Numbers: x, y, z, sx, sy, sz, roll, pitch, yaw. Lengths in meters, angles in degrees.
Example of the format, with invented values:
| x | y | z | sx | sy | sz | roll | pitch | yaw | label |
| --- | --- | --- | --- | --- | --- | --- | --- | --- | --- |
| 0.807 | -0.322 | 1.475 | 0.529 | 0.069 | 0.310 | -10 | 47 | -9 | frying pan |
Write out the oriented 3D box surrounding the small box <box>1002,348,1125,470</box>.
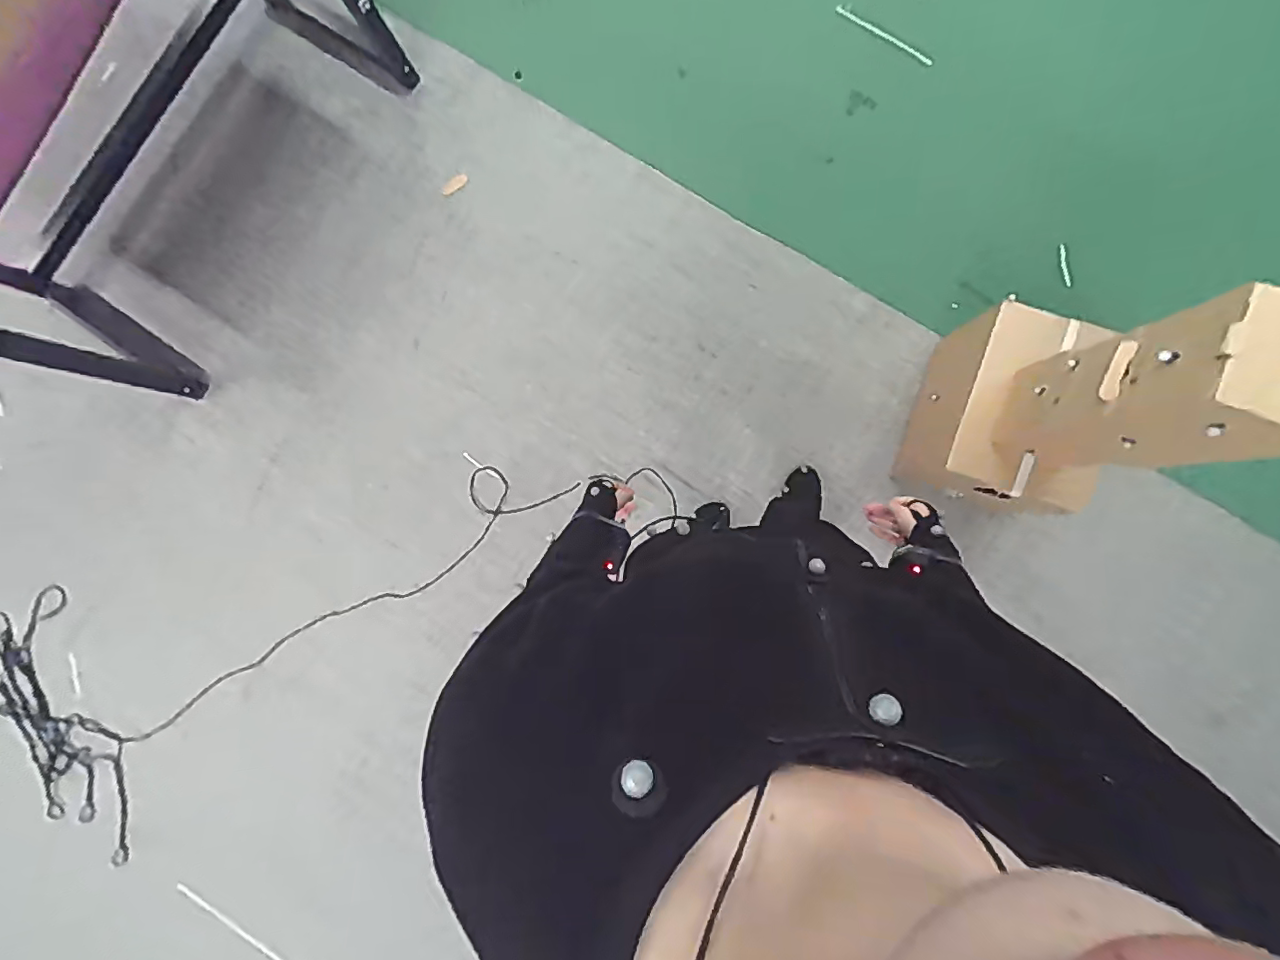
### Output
| x | y | z | sx | sy | sz | roll | pitch | yaw | label |
| --- | --- | --- | --- | --- | --- | --- | --- | --- | --- |
| 0.864 | -0.132 | 1.071 | 0.168 | 0.176 | 0.179 | 23 | 90 | 7 | small box |

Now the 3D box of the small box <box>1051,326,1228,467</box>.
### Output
| x | y | z | sx | sy | sz | roll | pitch | yaw | label |
| --- | --- | --- | --- | --- | --- | --- | --- | --- | --- |
| 0.850 | -0.128 | 0.907 | 0.179 | 0.176 | 0.168 | 25 | 90 | 6 | small box |

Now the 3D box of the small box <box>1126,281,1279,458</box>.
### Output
| x | y | z | sx | sy | sz | roll | pitch | yaw | label |
| --- | --- | --- | --- | --- | --- | --- | --- | --- | --- |
| 0.839 | -0.138 | 0.743 | 0.179 | 0.176 | 0.168 | 23 | 90 | 7 | small box |

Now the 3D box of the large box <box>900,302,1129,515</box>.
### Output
| x | y | z | sx | sy | sz | roll | pitch | yaw | label |
| --- | --- | --- | --- | --- | --- | --- | --- | --- | --- |
| 0.892 | -0.148 | 1.315 | 0.320 | 0.320 | 0.408 | 19 | 88 | 4 | large box |
